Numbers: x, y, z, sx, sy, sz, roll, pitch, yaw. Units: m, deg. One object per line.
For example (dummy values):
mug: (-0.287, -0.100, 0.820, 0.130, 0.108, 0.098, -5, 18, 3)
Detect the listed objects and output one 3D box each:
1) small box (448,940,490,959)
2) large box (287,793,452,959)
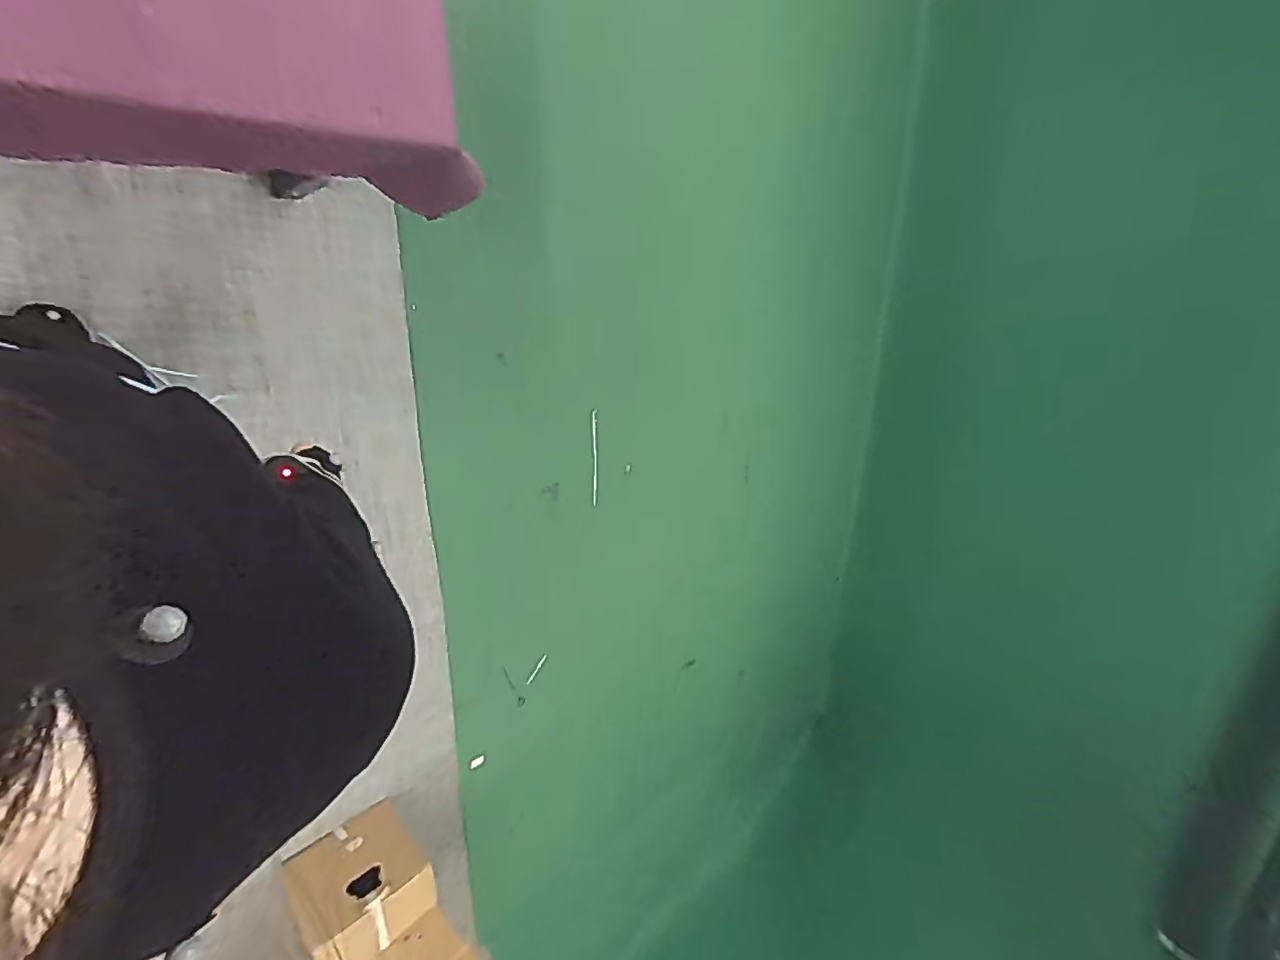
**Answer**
small box: (-0.460, 1.397, 1.439, 0.168, 0.176, 0.179, -21, 117, -44)
large box: (-0.810, 1.270, 1.634, 0.320, 0.320, 0.408, -19, 118, -42)
